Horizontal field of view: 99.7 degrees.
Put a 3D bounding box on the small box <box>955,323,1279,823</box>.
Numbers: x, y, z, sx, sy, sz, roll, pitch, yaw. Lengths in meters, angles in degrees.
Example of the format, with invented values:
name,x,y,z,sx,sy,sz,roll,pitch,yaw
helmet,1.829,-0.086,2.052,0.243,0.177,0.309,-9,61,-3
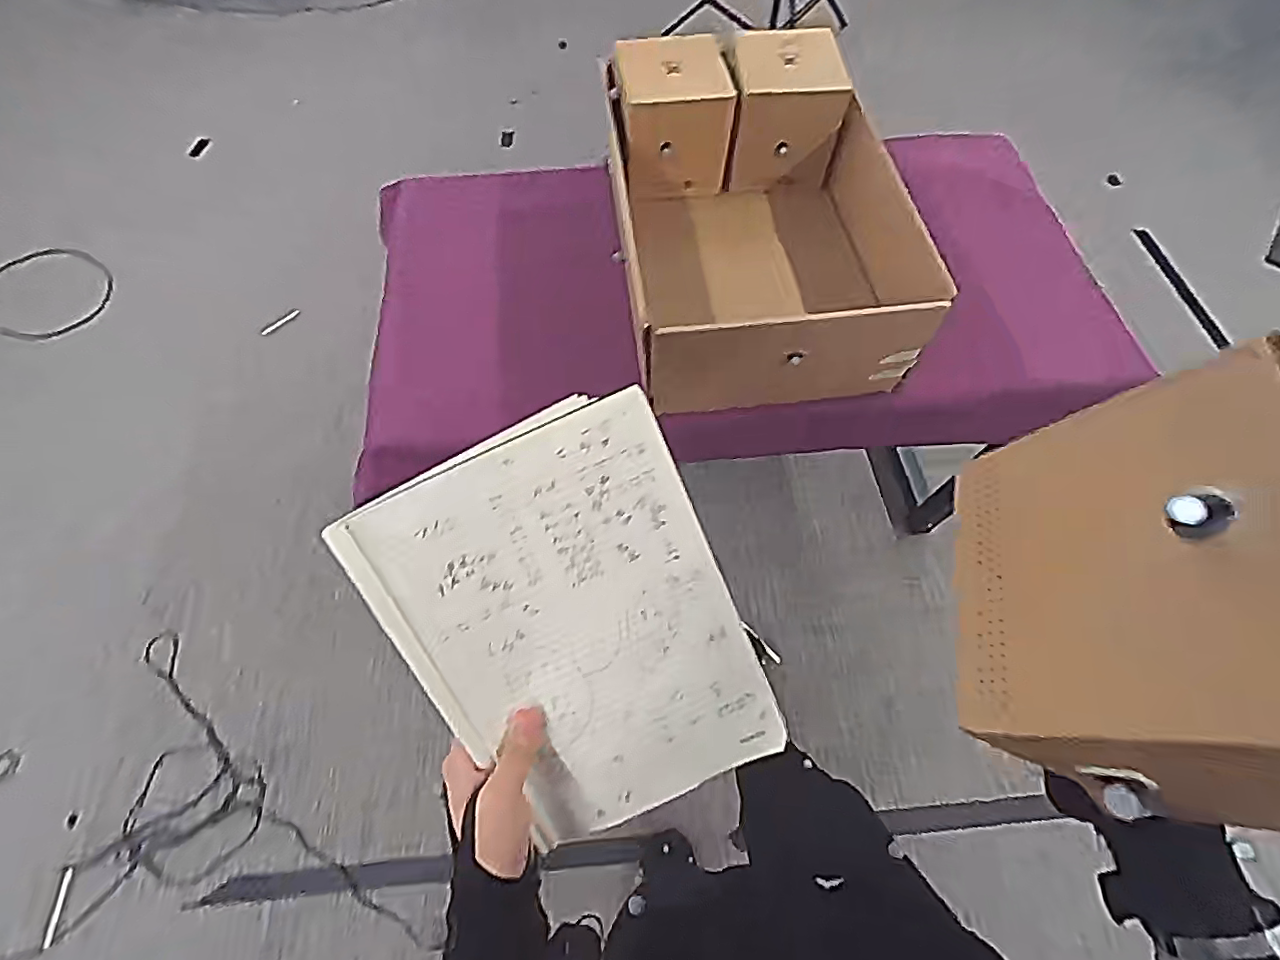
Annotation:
name,x,y,z,sx,sy,sz,roll,pitch,yaw
small box,0.294,0.063,0.280,0.168,0.176,0.179,23,63,-10
